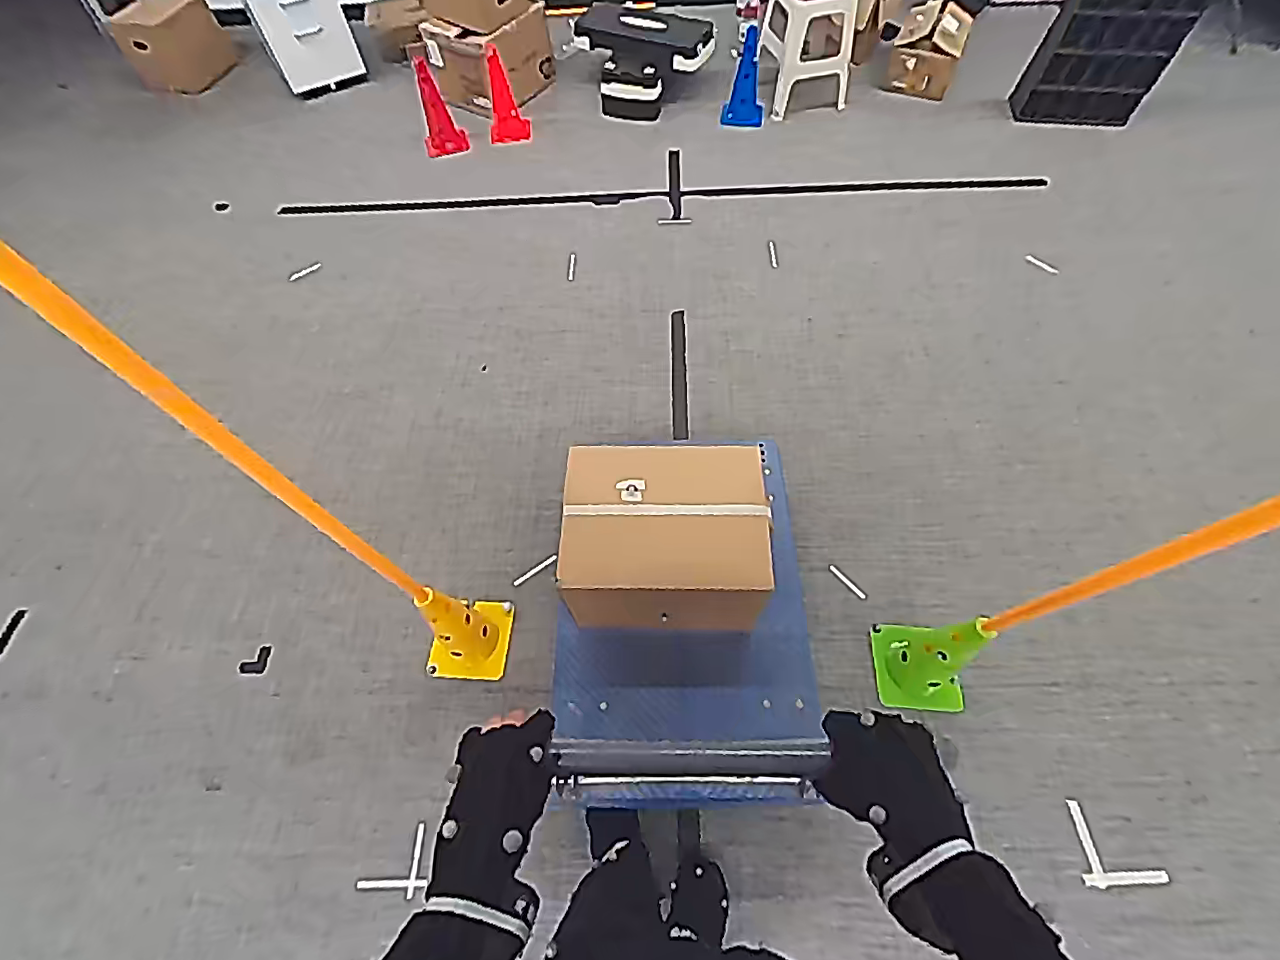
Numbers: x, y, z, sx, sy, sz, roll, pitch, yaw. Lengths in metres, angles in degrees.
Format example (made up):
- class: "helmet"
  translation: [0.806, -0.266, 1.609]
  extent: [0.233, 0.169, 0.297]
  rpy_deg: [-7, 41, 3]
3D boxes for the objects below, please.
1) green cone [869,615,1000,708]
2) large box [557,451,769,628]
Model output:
- class: "green cone"
  translation: [0.684, 0.376, 1.212]
  extent: [0.202, 0.368, 0.200]
  rpy_deg: [3, 60, 3]
- class: "large box"
  translation: [0.052, 0.146, 1.208]
  extent: [0.408, 0.320, 0.320]
  rpy_deg: [0, 61, 3]
